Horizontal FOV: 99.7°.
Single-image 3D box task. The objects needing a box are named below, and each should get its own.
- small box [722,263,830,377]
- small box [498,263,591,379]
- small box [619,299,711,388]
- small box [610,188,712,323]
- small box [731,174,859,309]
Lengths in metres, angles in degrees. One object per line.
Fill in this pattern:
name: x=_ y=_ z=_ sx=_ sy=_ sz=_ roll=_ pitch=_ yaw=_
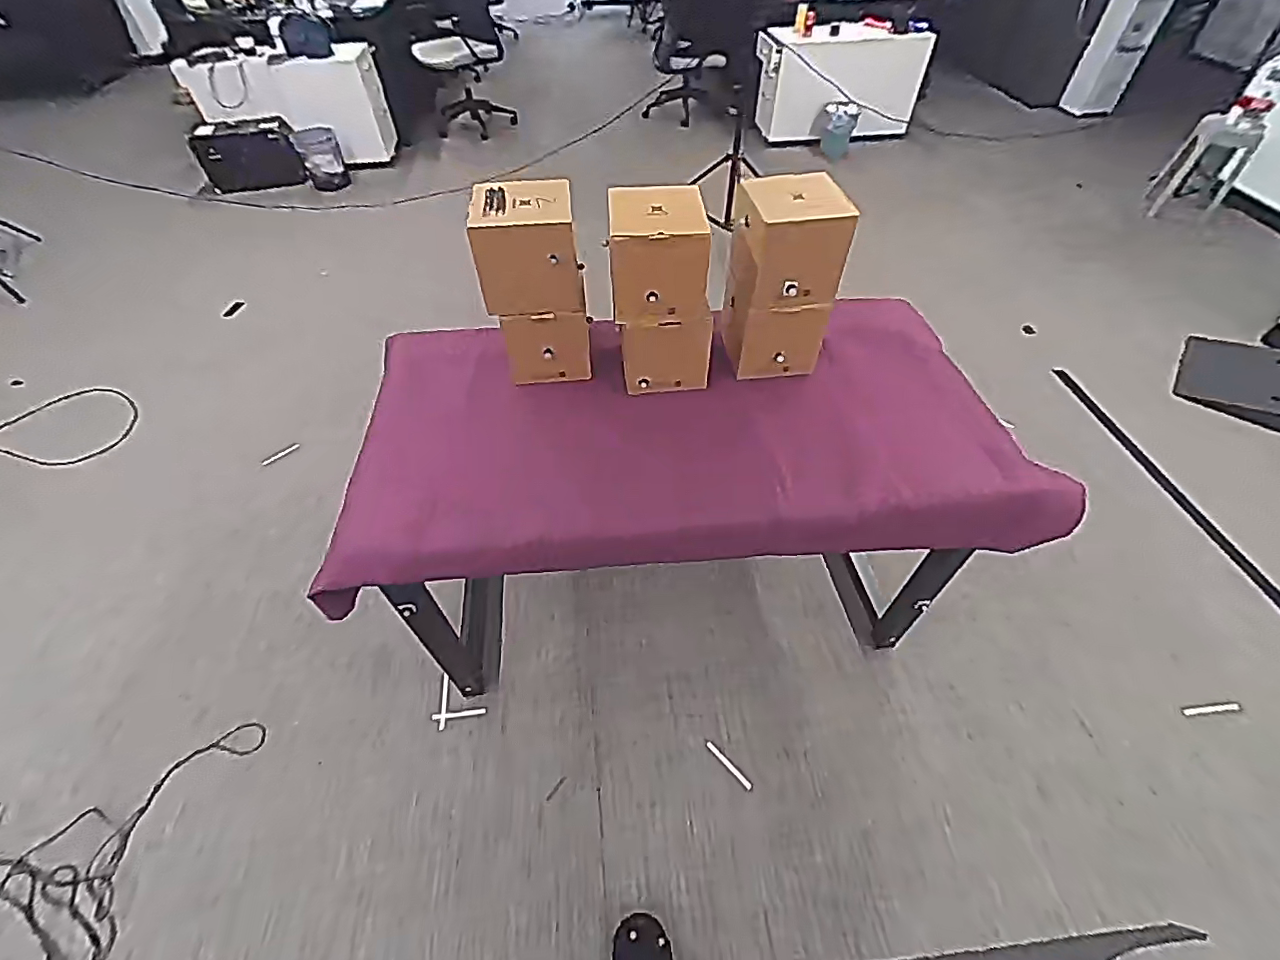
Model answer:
small box: x=0.272 y=-0.337 z=1.133 sx=0.168 sy=0.176 sz=0.179 roll=-5 pitch=52 yaw=-3
small box: x=-0.193 y=-0.323 z=1.124 sx=0.168 sy=0.176 sz=0.179 roll=-5 pitch=52 yaw=-4
small box: x=0.045 y=-0.301 z=1.106 sx=0.168 sy=0.176 sz=0.179 roll=-5 pitch=51 yaw=-4
small box: x=0.030 y=-0.407 z=0.982 sx=0.168 sy=0.176 sz=0.179 roll=-3 pitch=52 yaw=-2
small box: x=0.276 y=-0.444 z=1.011 sx=0.168 sy=0.176 sz=0.179 roll=-8 pitch=52 yaw=-5
